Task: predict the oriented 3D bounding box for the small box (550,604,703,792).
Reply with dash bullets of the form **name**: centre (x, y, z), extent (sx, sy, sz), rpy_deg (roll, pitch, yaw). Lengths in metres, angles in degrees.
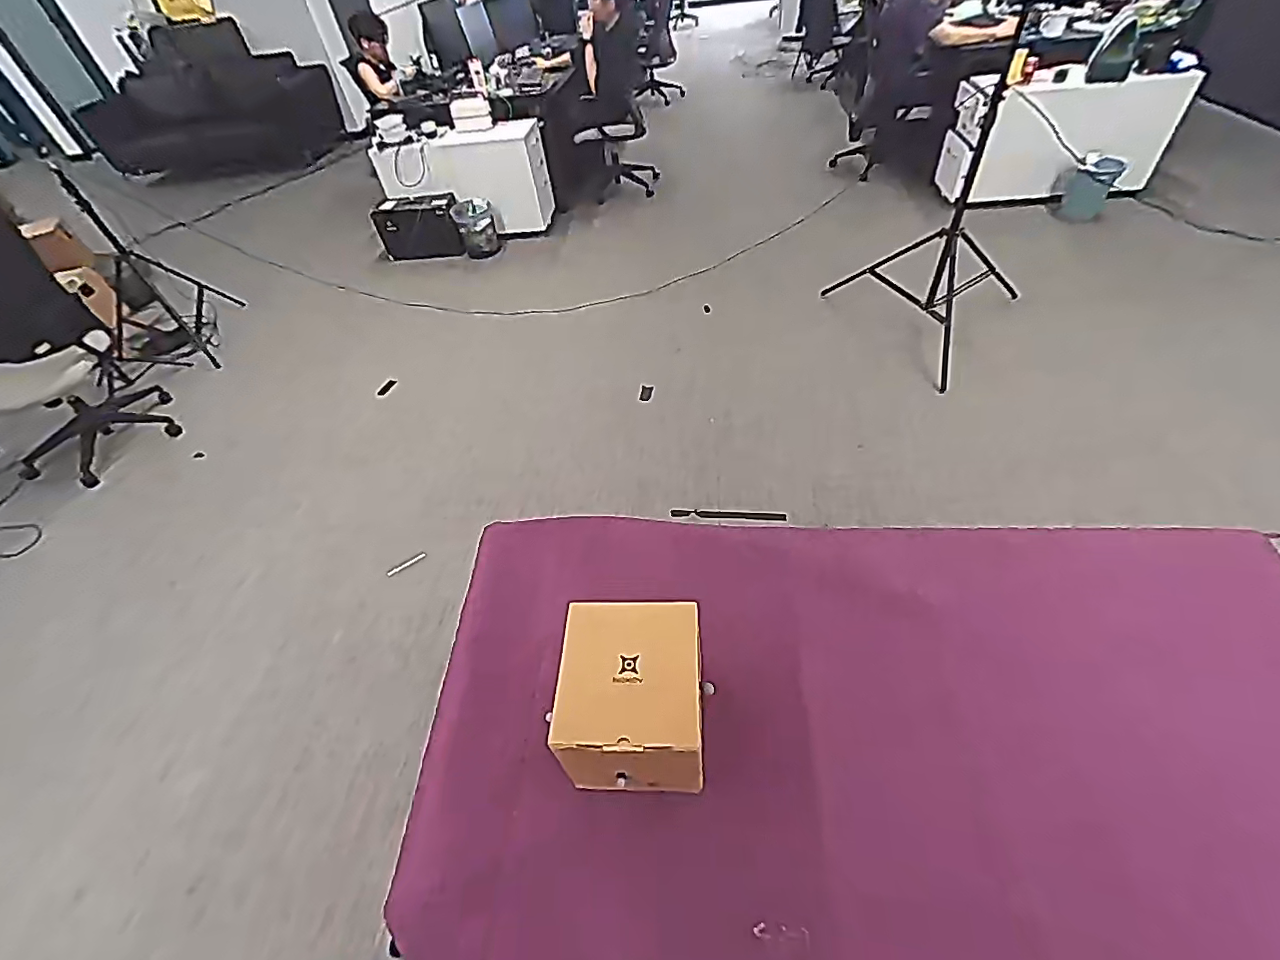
- **small box**: centre (-0.006, 0.276, 0.688), extent (0.168, 0.176, 0.179), rpy_deg (-2, 48, 5)
